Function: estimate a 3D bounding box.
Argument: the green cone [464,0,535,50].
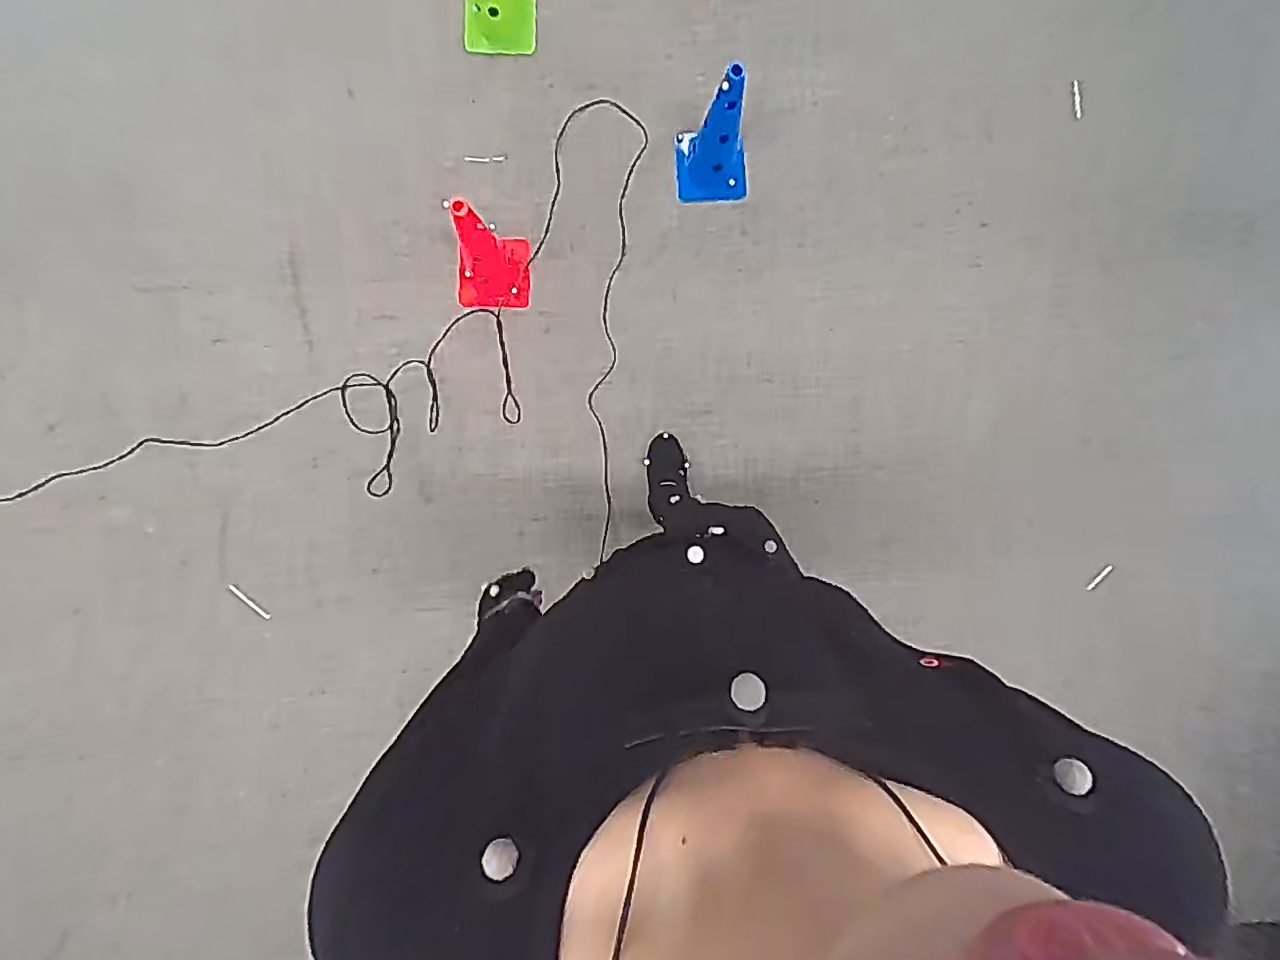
[{"bbox_3d":[-0.394,-1.323,1.361,0.200,0.368,0.202,-1,89,-1],"label":"green cone"}]

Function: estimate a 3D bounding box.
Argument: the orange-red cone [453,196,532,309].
[{"bbox_3d":[-0.396,-0.591,1.342,0.198,0.360,0.199,2,87,-3],"label":"orange-red cone"}]
